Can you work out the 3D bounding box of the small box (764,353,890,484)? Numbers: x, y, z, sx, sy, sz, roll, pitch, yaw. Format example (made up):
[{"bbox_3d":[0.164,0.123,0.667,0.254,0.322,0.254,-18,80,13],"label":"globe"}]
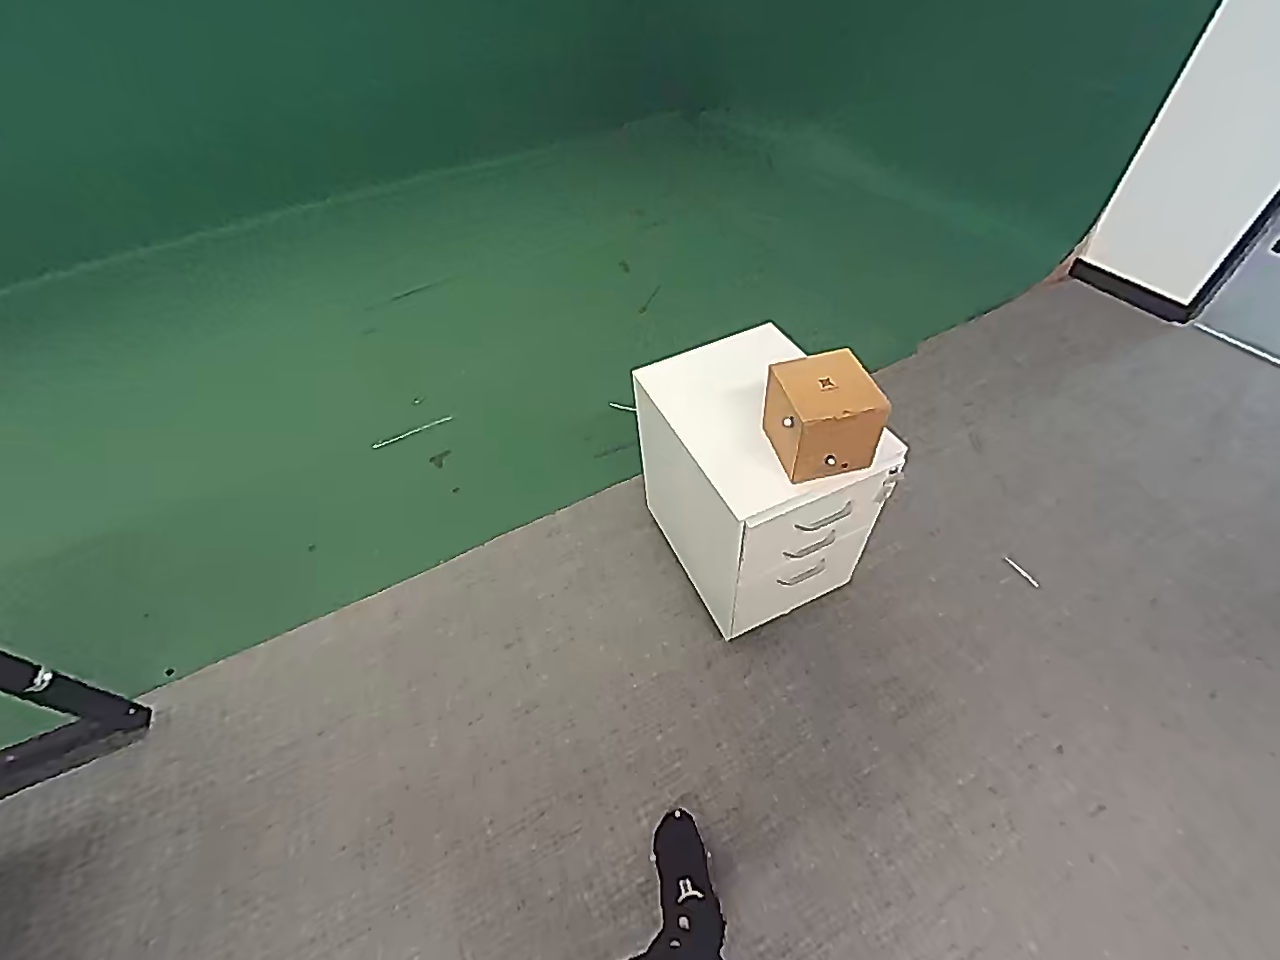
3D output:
[{"bbox_3d":[0.352,-0.119,1.059,0.168,0.176,0.179,-12,50,-3],"label":"small box"}]
